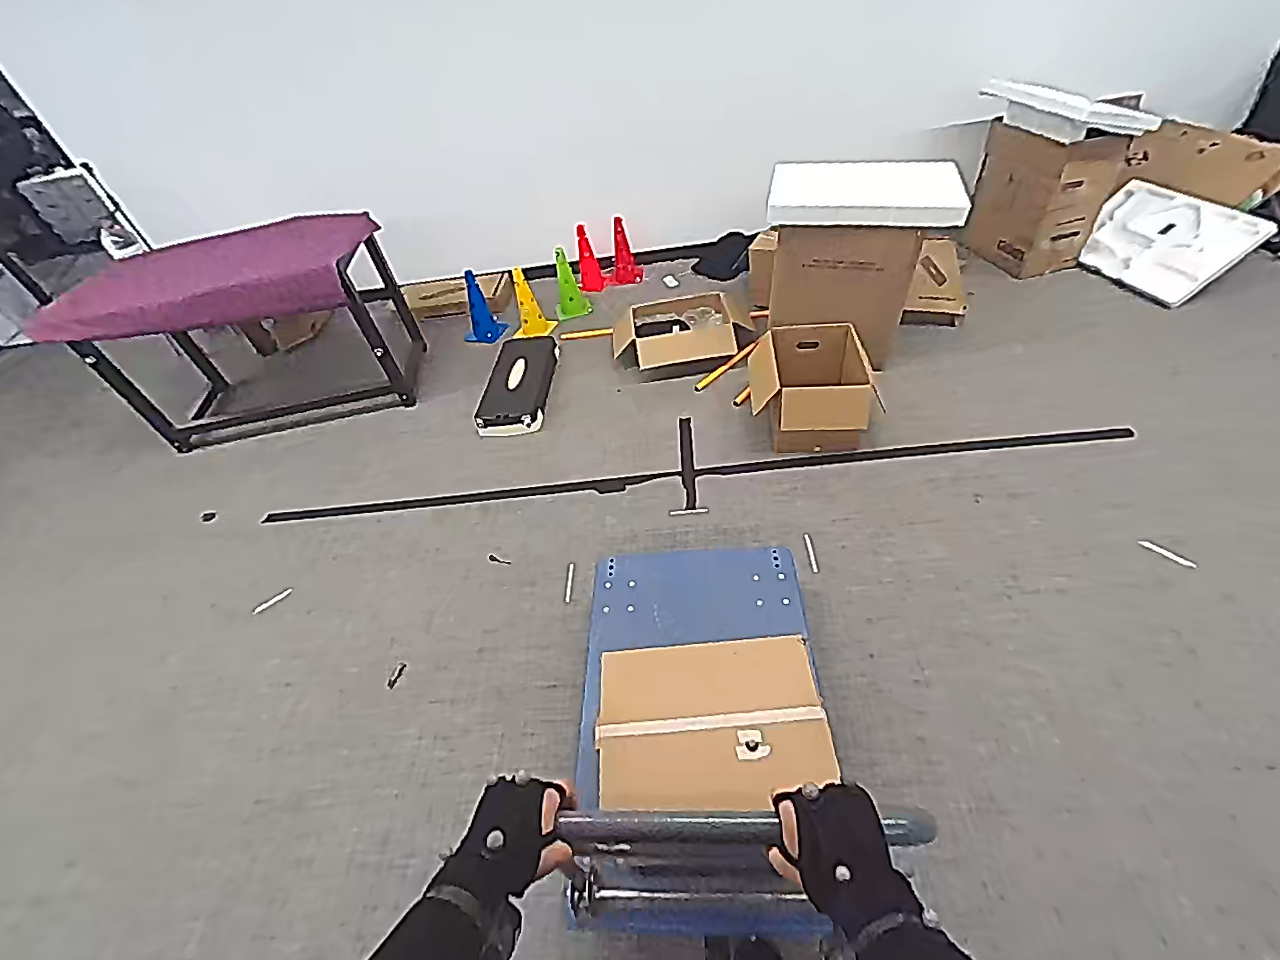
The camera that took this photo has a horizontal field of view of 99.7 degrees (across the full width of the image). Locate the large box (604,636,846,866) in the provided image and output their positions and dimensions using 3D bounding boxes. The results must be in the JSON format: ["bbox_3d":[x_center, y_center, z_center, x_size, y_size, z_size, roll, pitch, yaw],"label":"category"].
[{"bbox_3d":[0.146,0.549,1.091,0.408,0.320,0.320,-6,45,3],"label":"large box"}]
